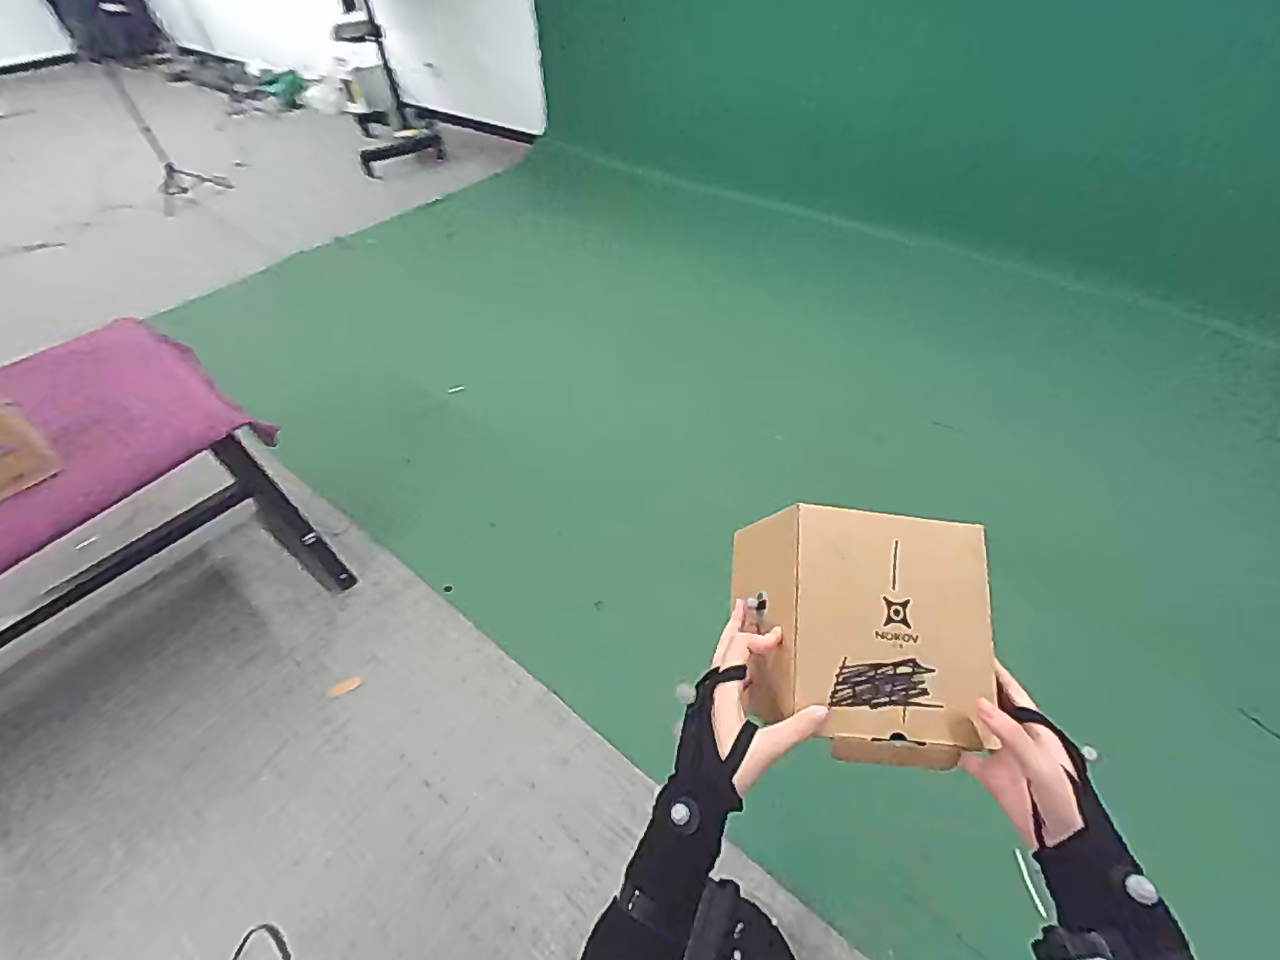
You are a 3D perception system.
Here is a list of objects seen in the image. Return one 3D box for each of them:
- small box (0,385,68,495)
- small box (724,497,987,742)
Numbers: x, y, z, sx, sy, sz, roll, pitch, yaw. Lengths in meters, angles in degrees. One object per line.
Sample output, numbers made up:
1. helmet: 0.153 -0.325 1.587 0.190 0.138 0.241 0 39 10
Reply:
1. small box: -1.259 -0.079 1.027 0.179 0.176 0.168 31 56 28
2. small box: 0.182 0.126 0.502 0.168 0.176 0.179 7 75 -7
